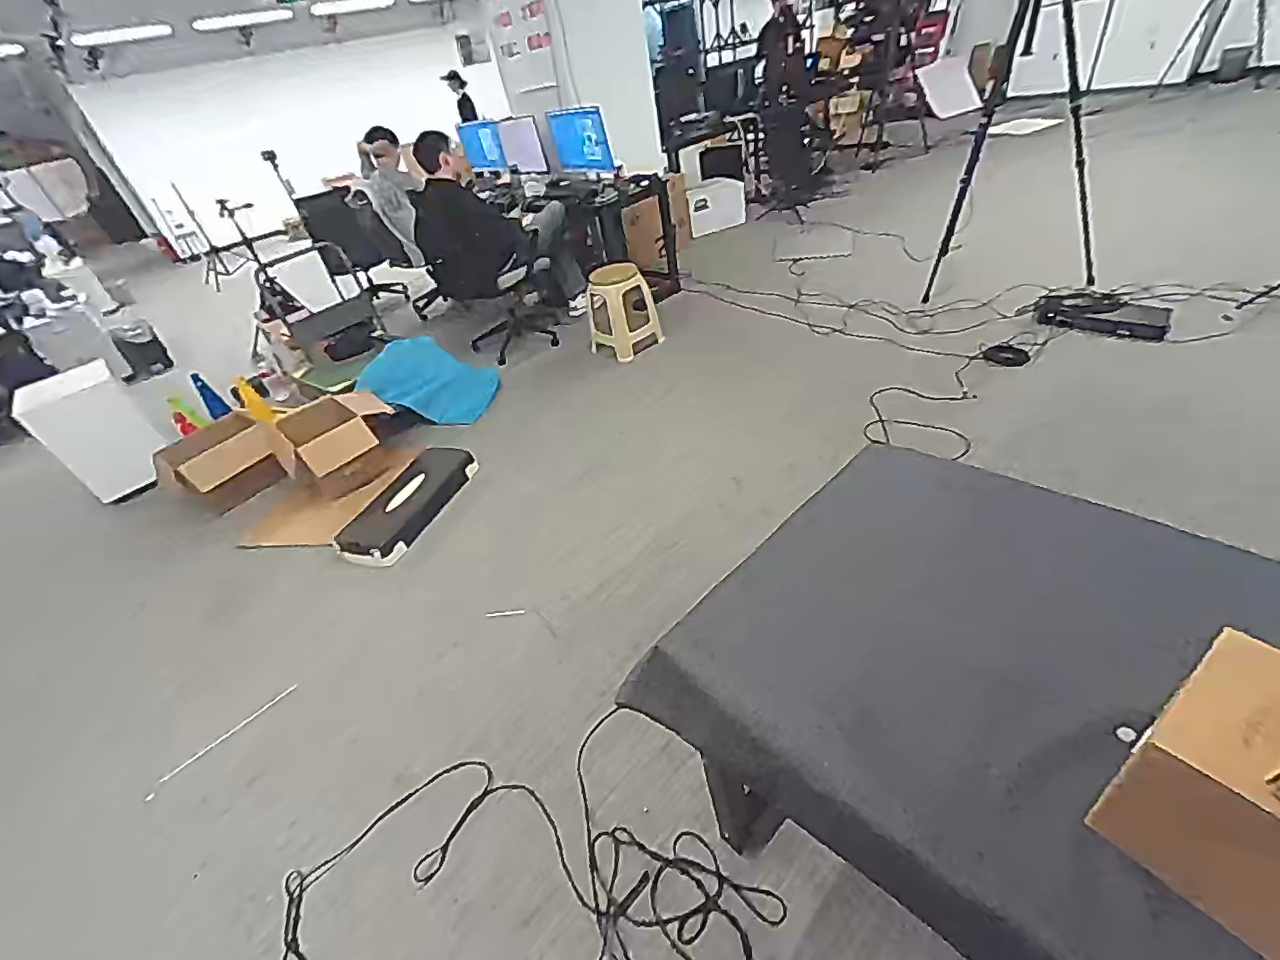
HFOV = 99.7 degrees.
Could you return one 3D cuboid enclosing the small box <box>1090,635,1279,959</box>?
[{"bbox_3d":[0.533,0.274,0.449,0.168,0.176,0.179,-30,39,-23],"label":"small box"}]
